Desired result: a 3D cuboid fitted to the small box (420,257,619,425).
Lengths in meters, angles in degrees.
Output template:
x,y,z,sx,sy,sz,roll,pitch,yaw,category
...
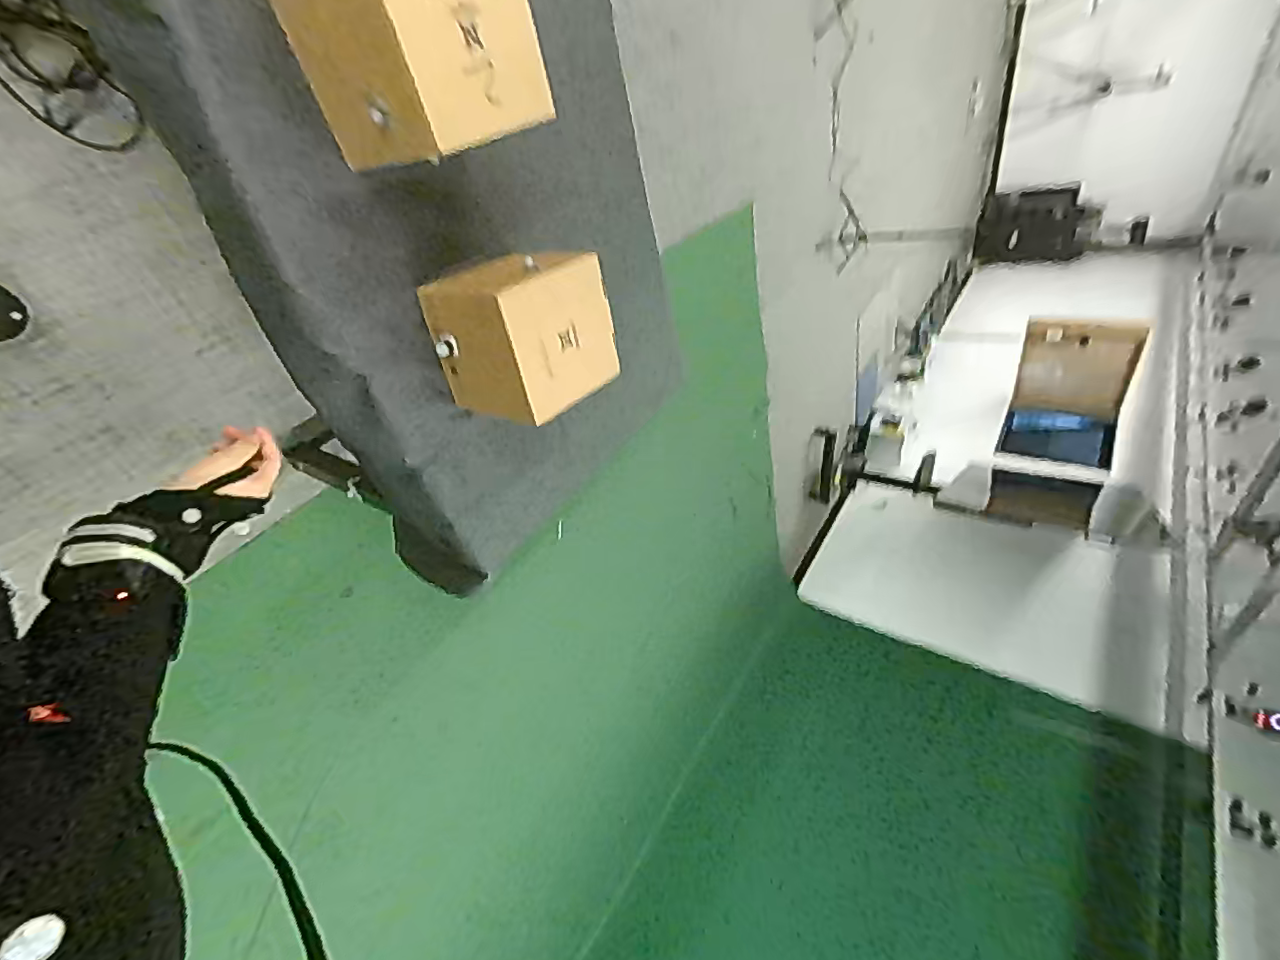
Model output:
x,y,z,sx,sy,sz,roll,pitch,yaw,category
-0.156,-0.196,0.728,0.179,0.176,0.168,-41,133,-38,small box
